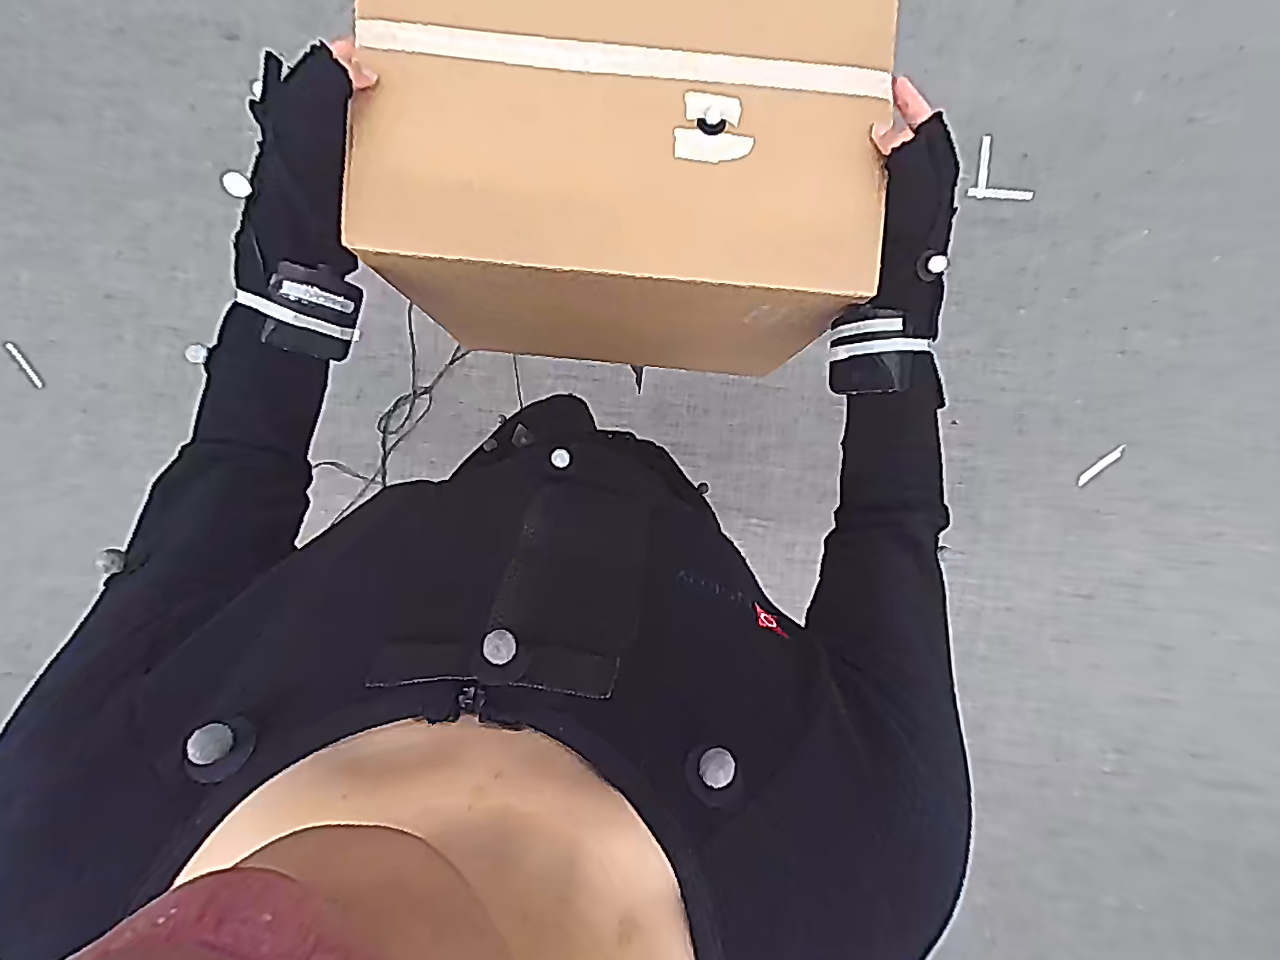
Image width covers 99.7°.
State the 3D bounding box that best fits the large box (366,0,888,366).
[{"bbox_3d":[-0.011,-0.317,0.573,0.408,0.320,0.320,5,90,-2],"label":"large box"}]
